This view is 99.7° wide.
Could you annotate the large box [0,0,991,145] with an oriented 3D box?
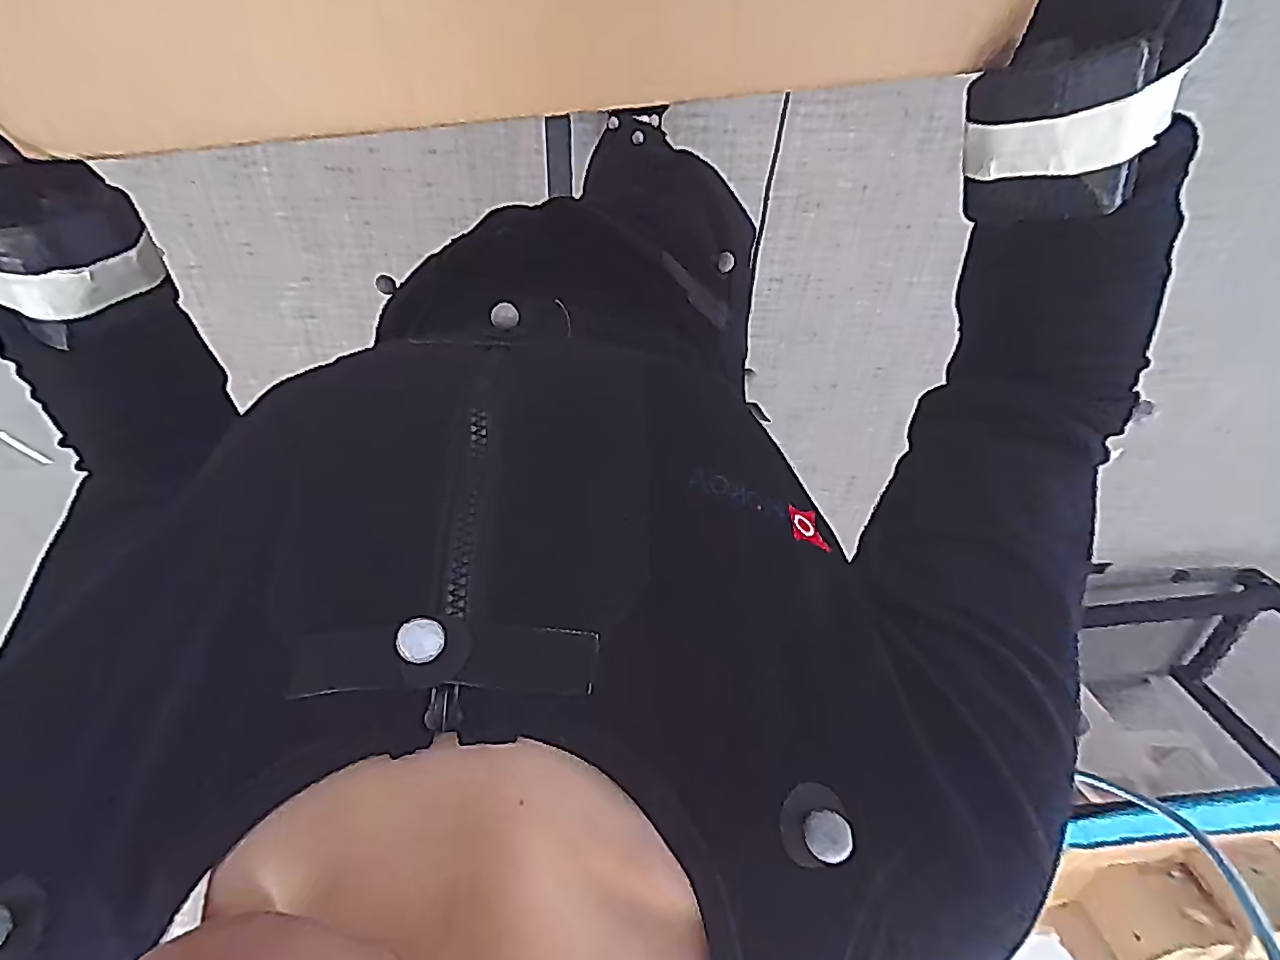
[{"bbox_3d":[-0.074,-0.371,0.191,0.408,0.320,0.320,-5,144,0],"label":"large box"}]
